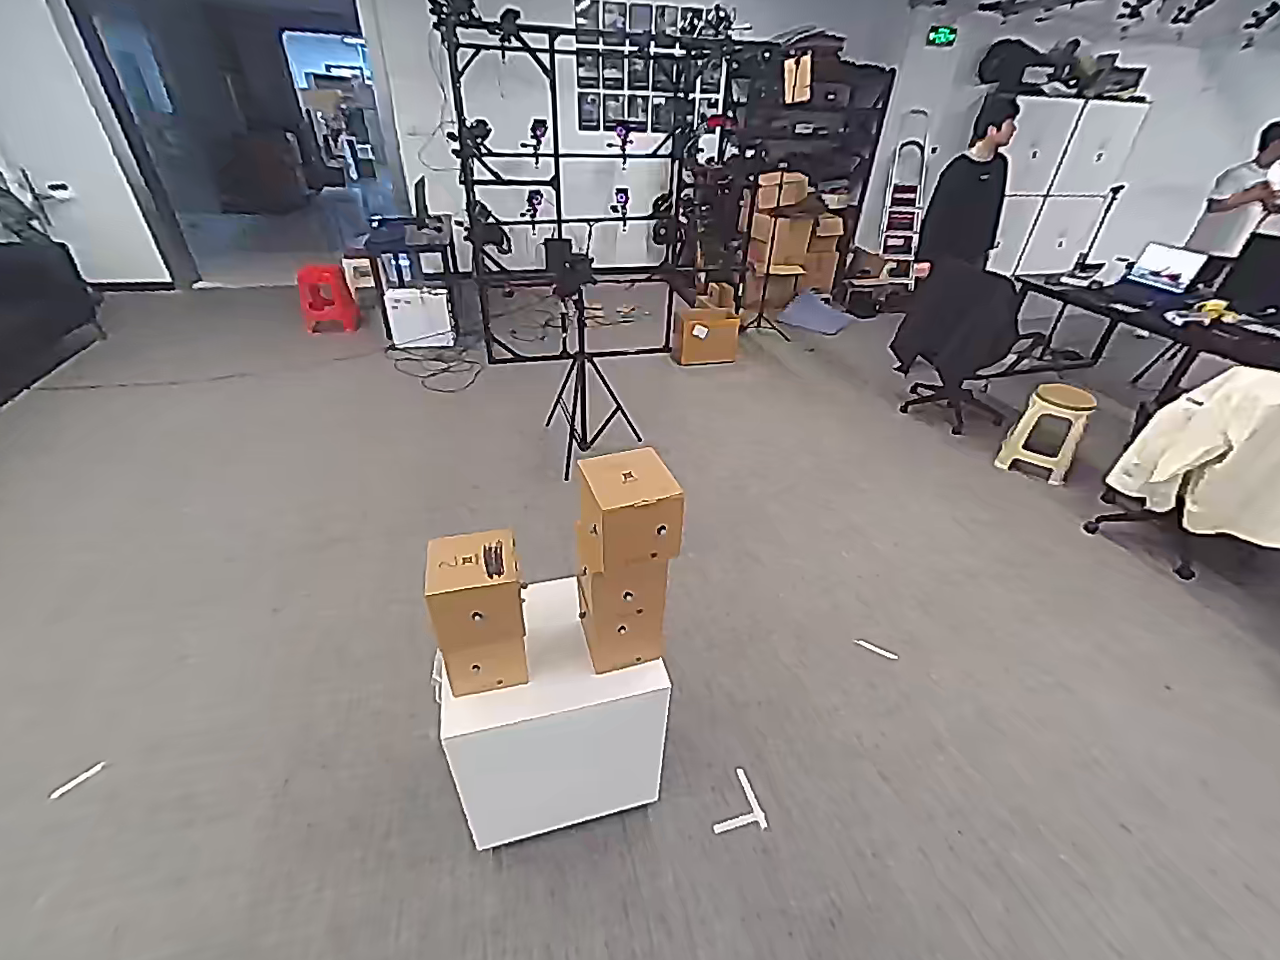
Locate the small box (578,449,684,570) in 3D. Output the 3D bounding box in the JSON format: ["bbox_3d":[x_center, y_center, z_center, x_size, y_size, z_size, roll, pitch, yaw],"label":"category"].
[{"bbox_3d":[-0.022,0.064,1.095,0.168,0.176,0.179,-11,37,-19],"label":"small box"}]

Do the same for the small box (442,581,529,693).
[{"bbox_3d":[-0.347,0.361,1.229,0.168,0.176,0.179,-7,36,-13],"label":"small box"}]

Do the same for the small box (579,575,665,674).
[{"bbox_3d":[-0.047,0.327,1.290,0.168,0.176,0.179,-10,36,-14],"label":"small box"}]

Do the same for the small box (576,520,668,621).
[{"bbox_3d":[-0.043,0.192,1.195,0.168,0.176,0.179,-9,37,-14],"label":"small box"}]
